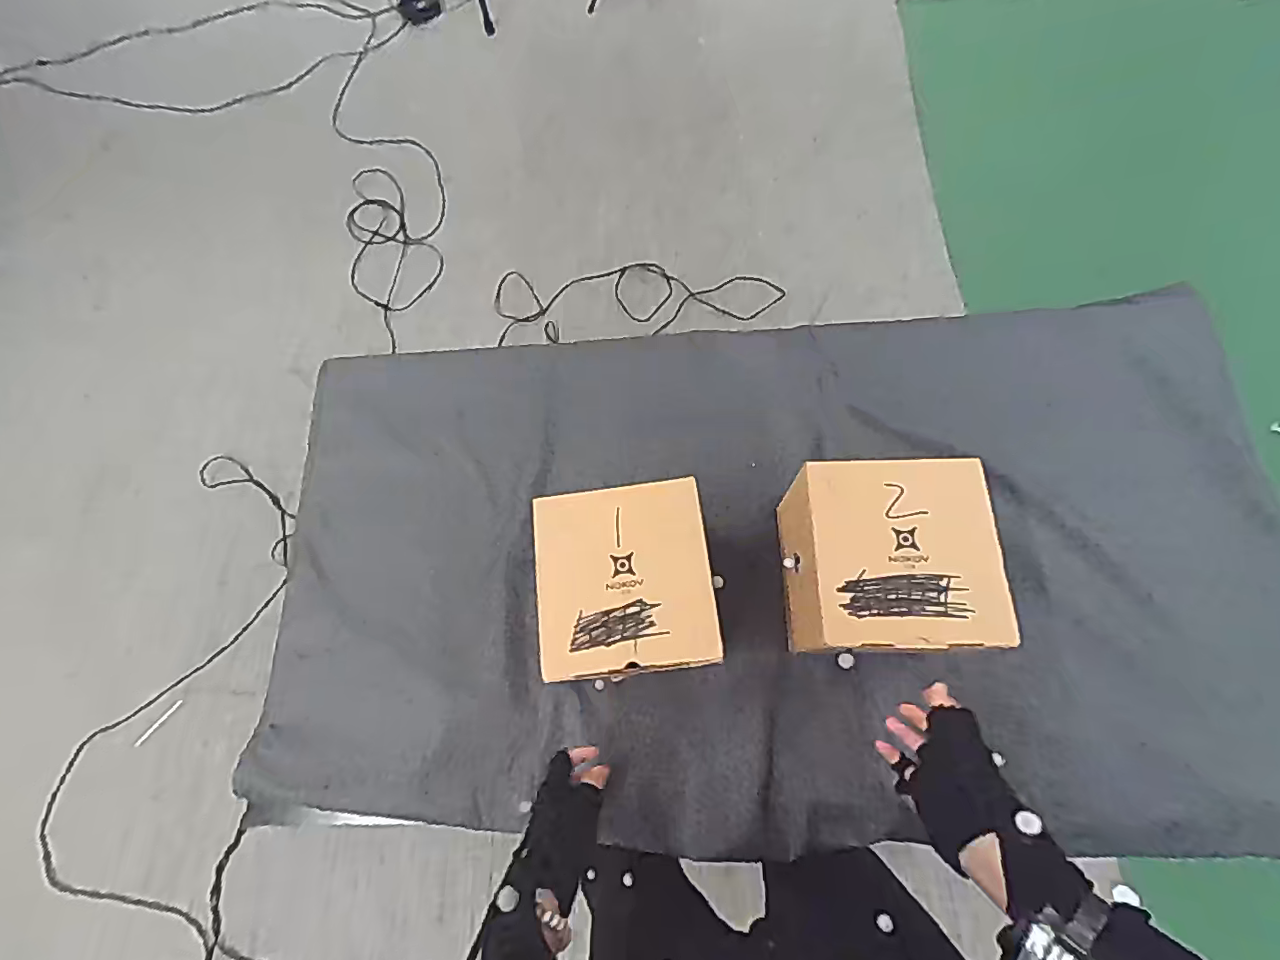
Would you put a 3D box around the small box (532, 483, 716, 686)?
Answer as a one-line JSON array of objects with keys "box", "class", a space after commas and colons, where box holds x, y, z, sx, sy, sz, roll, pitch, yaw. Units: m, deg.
[{"box": [-0.012, 0.119, 0.581, 0.168, 0.176, 0.179, -7, 69, 2], "class": "small box"}]
